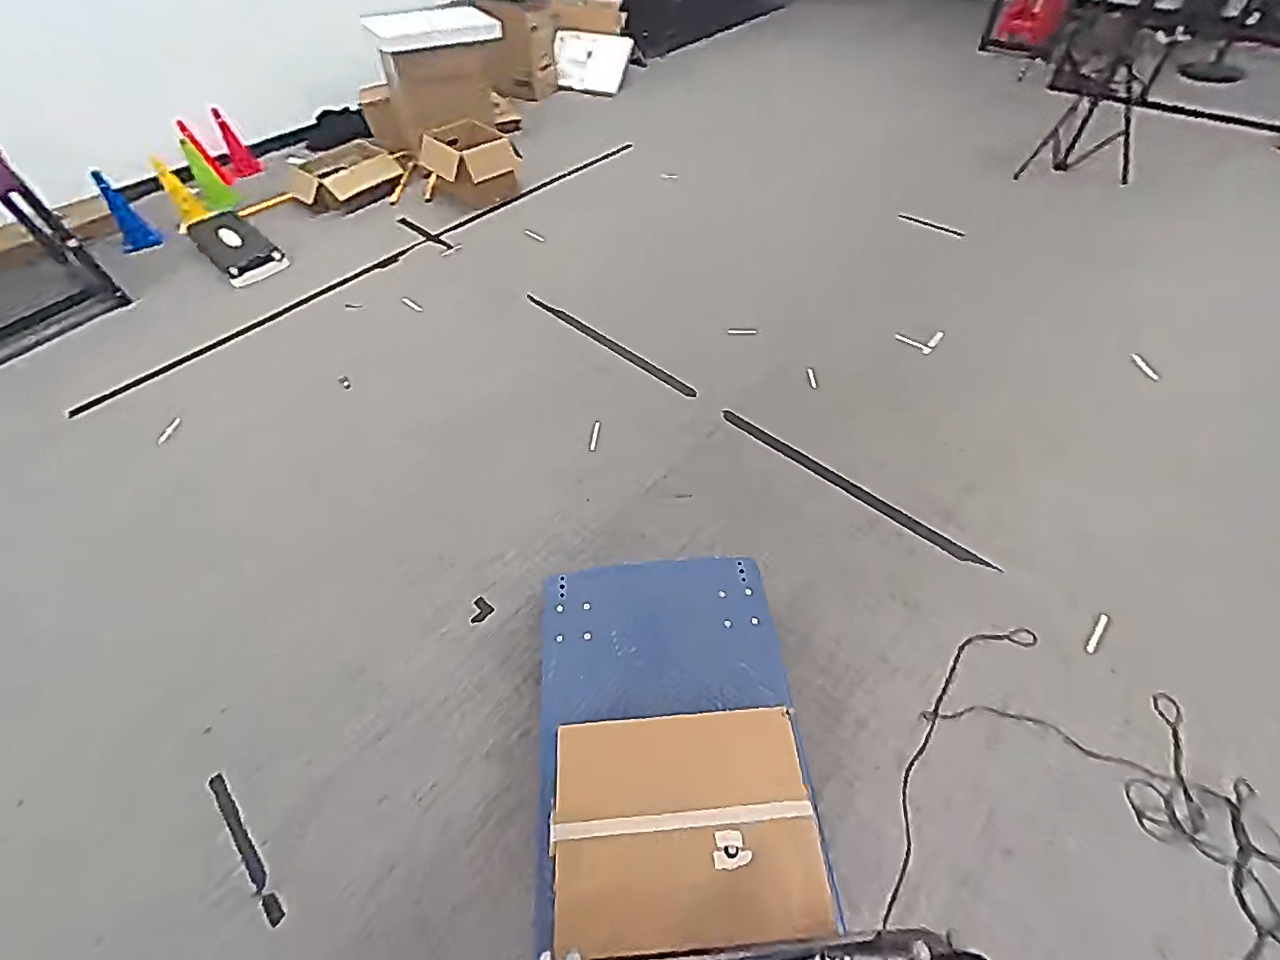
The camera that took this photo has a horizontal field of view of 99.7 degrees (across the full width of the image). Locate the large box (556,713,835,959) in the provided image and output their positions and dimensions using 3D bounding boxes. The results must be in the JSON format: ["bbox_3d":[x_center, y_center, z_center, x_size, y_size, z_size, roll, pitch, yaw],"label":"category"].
[{"bbox_3d":[0.069,0.636,0.963,0.408,0.320,0.320,-4,53,-2],"label":"large box"}]
